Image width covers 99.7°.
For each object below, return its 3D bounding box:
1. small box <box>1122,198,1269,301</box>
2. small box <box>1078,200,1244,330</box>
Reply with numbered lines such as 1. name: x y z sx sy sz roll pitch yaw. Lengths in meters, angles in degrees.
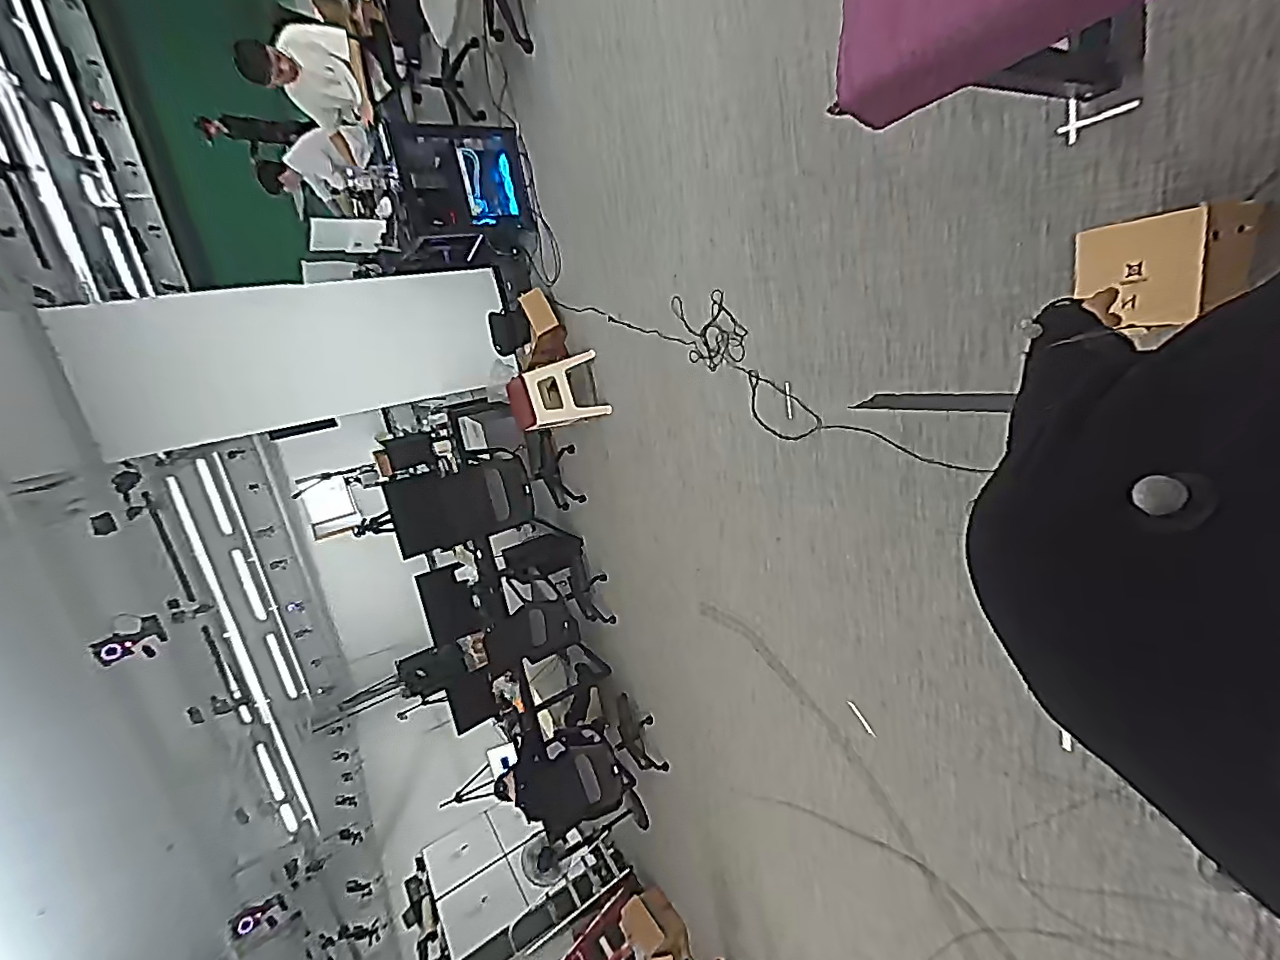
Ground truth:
1. small box: 1.018 -0.414 1.008 0.168 0.176 0.179 21 125 54
2. small box: 0.885 -0.363 0.923 0.168 0.176 0.179 14 119 57
